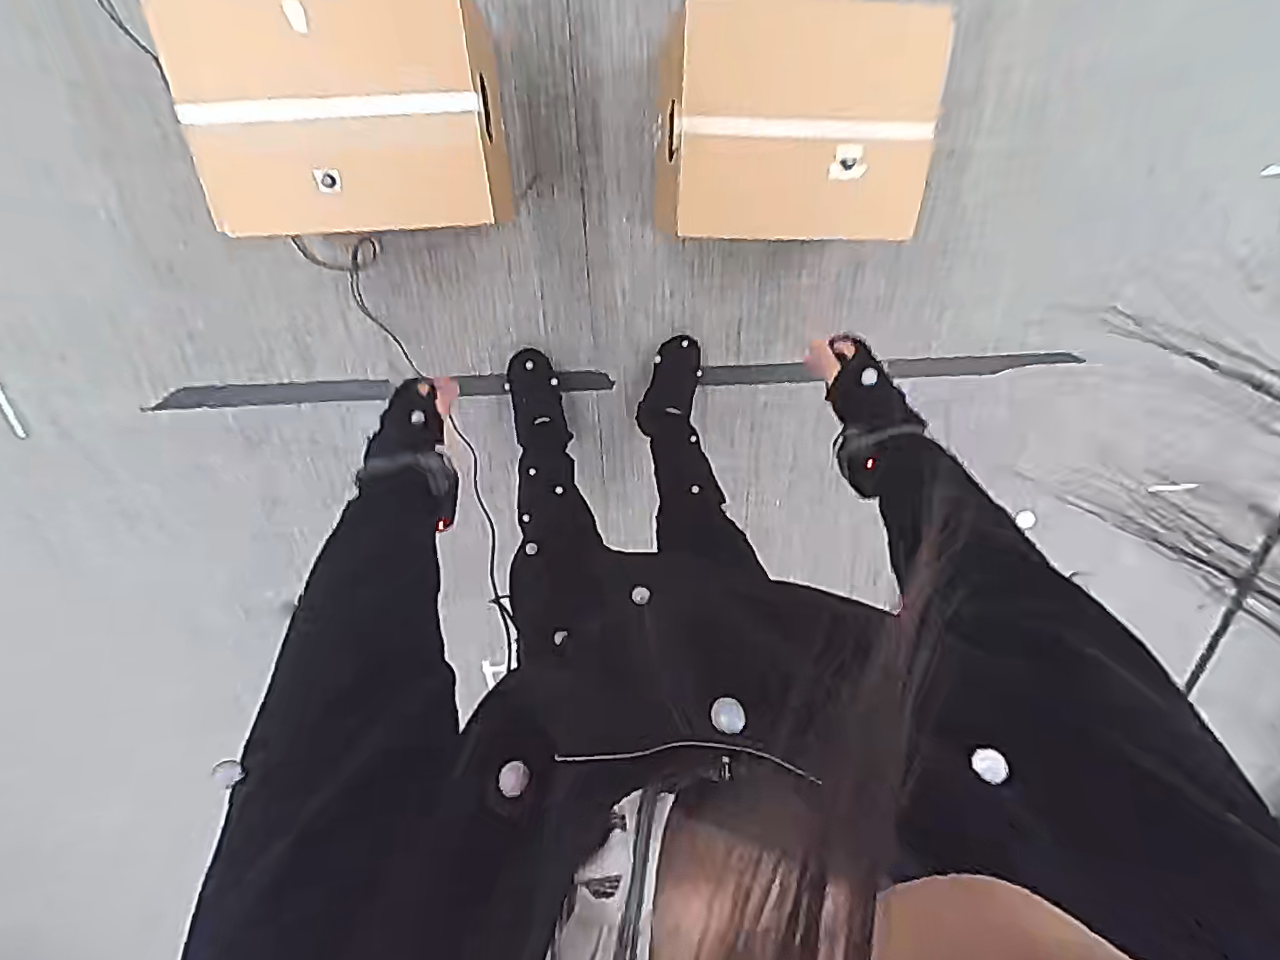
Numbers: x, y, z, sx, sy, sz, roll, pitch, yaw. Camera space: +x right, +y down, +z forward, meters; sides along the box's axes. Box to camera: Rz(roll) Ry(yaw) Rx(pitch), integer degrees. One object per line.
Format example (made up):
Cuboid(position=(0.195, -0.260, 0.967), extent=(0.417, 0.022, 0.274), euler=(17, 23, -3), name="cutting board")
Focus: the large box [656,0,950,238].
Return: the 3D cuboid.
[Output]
Cuboid(position=(0.245, -0.609, 0.975), extent=(0.408, 0.320, 0.320), euler=(-2, 115, -6), name="large box")
